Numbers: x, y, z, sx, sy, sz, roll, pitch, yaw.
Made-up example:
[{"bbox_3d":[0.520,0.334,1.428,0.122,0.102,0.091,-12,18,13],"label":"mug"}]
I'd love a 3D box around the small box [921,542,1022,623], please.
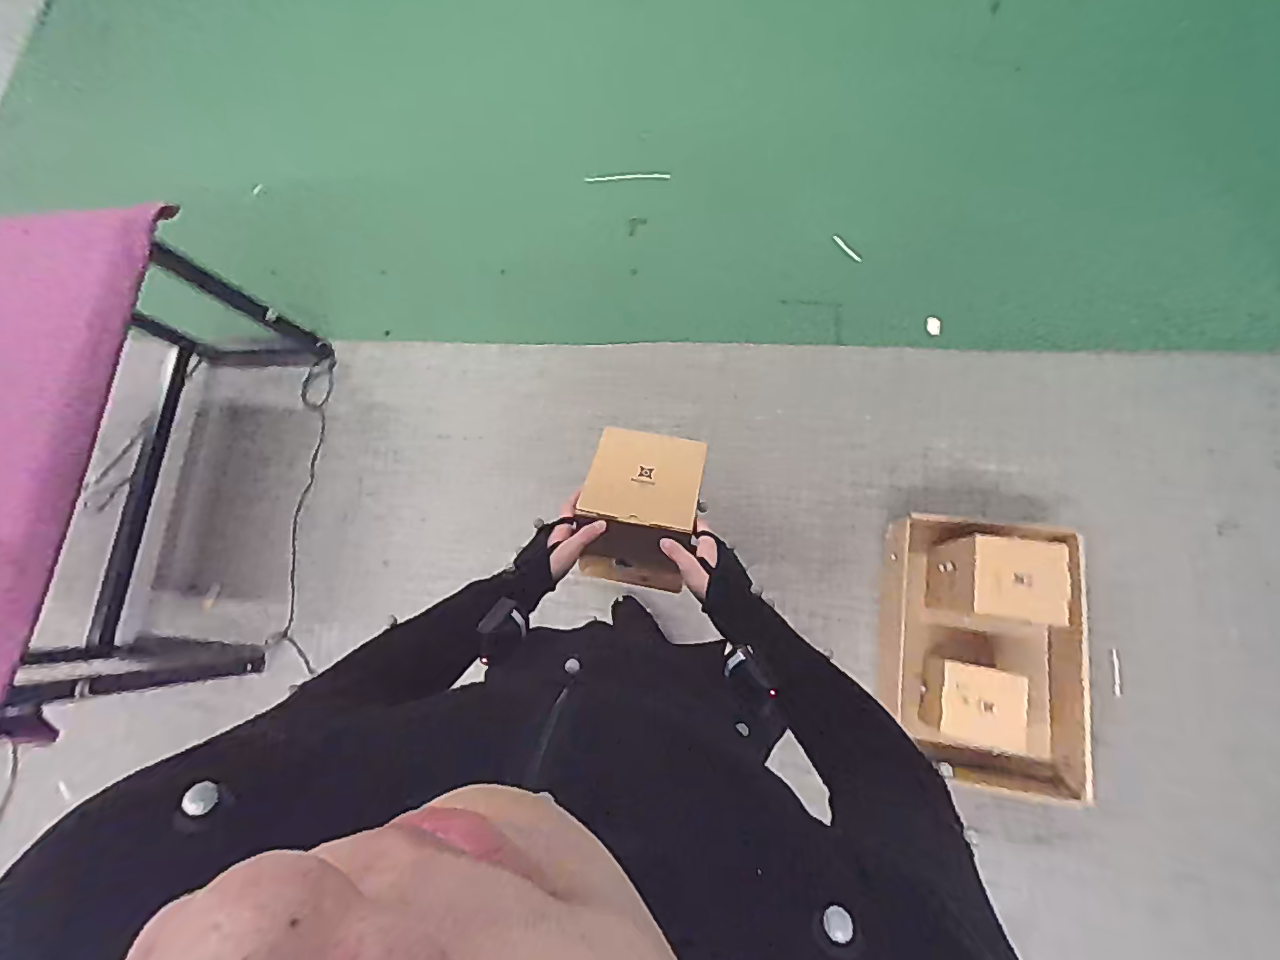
[{"bbox_3d":[0.832,0.256,1.357,0.179,0.176,0.168,8,79,11],"label":"small box"}]

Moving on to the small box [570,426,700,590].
[{"bbox_3d":[-0.006,0.045,0.846,0.168,0.176,0.179,9,51,5],"label":"small box"}]

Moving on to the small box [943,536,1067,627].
[{"bbox_3d":[0.802,0.223,1.201,0.179,0.176,0.168,7,80,12],"label":"small box"}]
